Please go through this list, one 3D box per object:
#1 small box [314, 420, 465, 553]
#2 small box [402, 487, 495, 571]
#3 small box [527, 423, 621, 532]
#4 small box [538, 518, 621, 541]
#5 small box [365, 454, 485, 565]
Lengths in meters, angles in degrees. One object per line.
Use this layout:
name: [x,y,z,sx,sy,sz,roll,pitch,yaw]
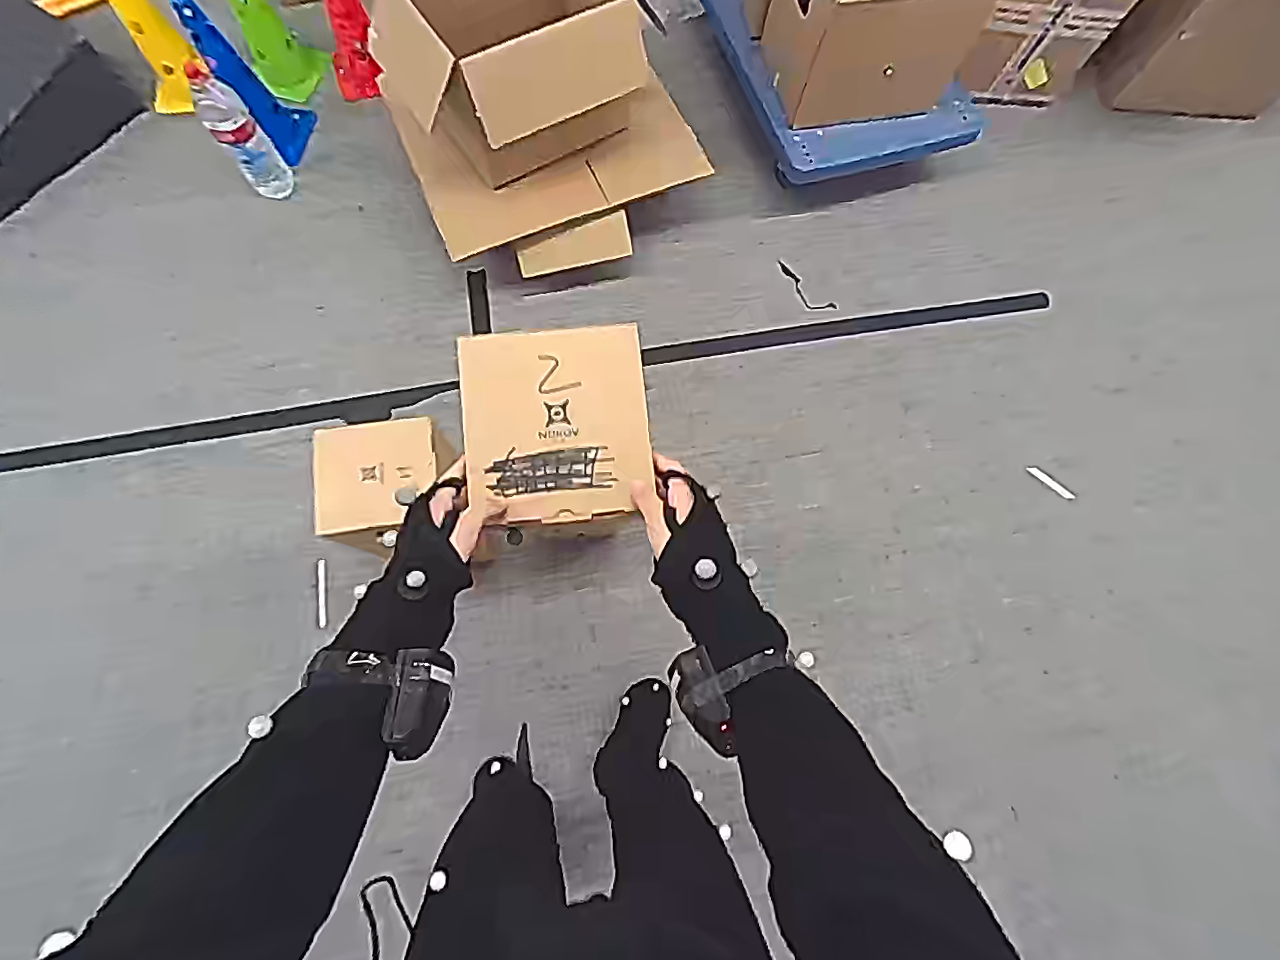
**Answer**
small box: [-0.398,0.018,0.879,0.179,0.176,0.168,-8,75,-8]
small box: [-0.424,0.100,1.194,0.168,0.176,0.179,-10,74,-8]
small box: [-0.126,0.003,1.069,0.168,0.176,0.179,-6,74,-5]
small box: [-0.140,0.042,1.229,0.179,0.176,0.168,-4,75,-6]
small box: [-0.409,0.063,1.037,0.179,0.176,0.168,-9,75,-7]
